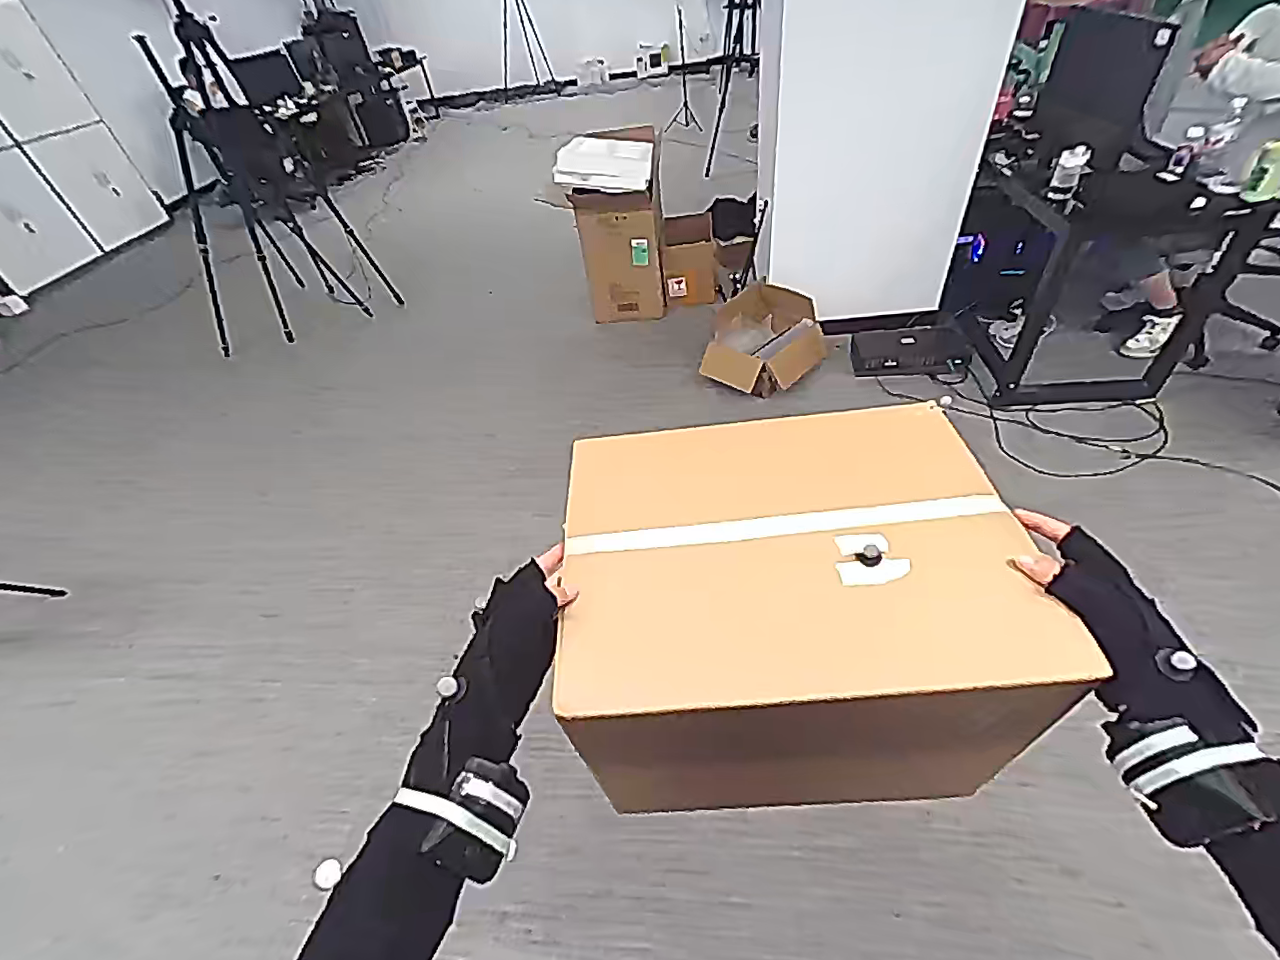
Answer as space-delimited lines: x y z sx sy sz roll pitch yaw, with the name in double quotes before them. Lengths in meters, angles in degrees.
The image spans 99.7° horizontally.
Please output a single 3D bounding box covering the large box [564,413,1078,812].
"large box" 0.145 0.157 0.623 0.408 0.320 0.320 -6 46 4
